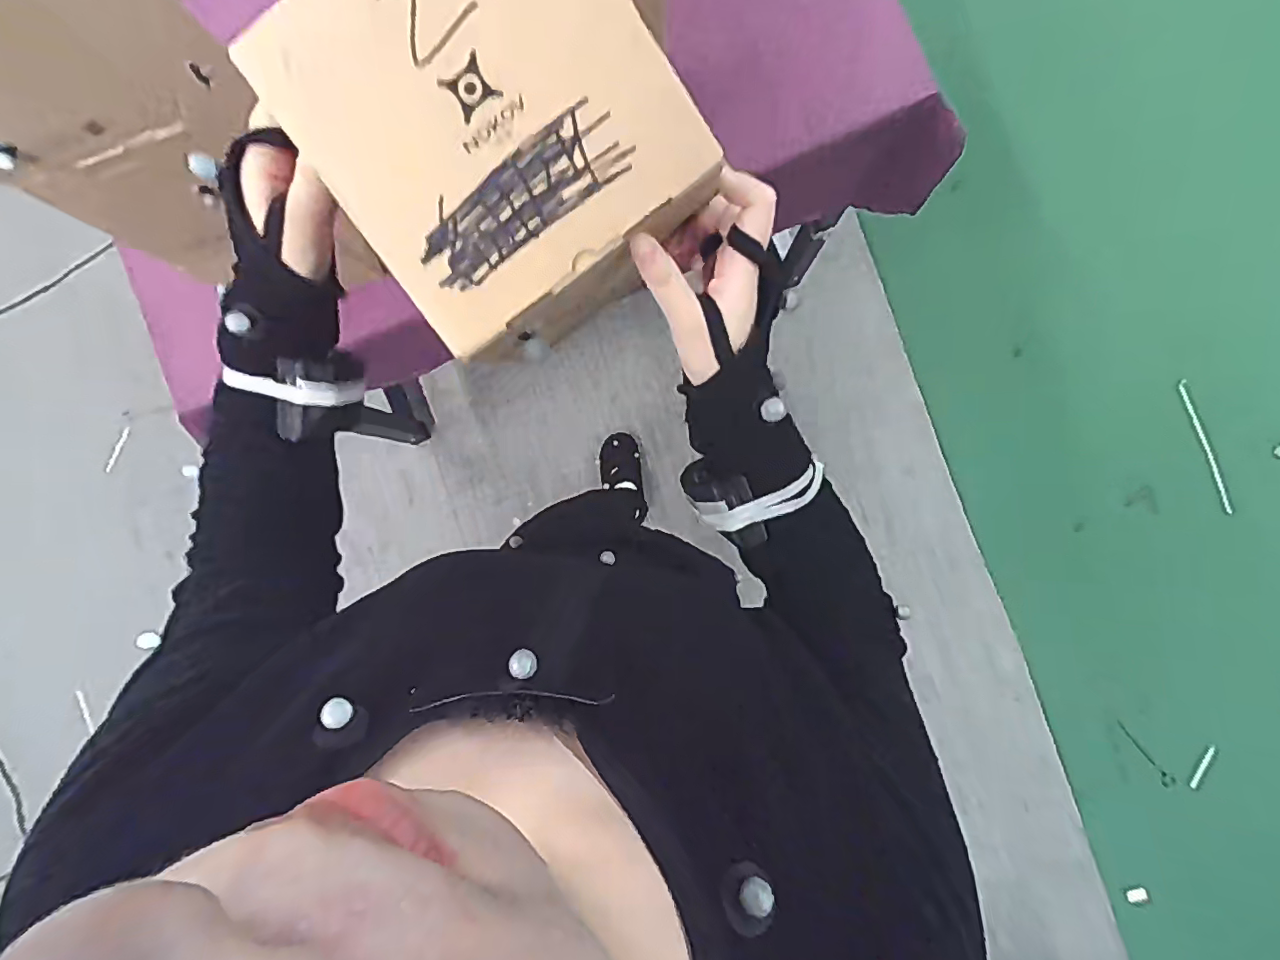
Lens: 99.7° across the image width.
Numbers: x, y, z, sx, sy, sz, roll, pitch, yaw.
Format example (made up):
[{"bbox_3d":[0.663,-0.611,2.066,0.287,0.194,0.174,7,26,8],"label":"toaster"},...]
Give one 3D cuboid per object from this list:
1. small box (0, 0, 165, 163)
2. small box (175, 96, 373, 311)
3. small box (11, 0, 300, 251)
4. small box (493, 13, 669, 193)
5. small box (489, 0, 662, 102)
[{"bbox_3d":[-0.511,-0.372,0.397,0.168,0.176,0.179,-21,86,1],"label":"small box"},{"bbox_3d":[-0.488,-0.353,0.724,0.179,0.176,0.168,-20,87,1],"label":"small box"},{"bbox_3d":[-0.496,-0.364,0.561,0.168,0.176,0.179,-18,87,1],"label":"small box"},{"bbox_3d":[-0.066,-0.517,0.711,0.179,0.176,0.168,-19,87,1],"label":"small box"},{"bbox_3d":[-0.076,-0.528,0.547,0.168,0.176,0.179,-17,87,1],"label":"small box"}]
